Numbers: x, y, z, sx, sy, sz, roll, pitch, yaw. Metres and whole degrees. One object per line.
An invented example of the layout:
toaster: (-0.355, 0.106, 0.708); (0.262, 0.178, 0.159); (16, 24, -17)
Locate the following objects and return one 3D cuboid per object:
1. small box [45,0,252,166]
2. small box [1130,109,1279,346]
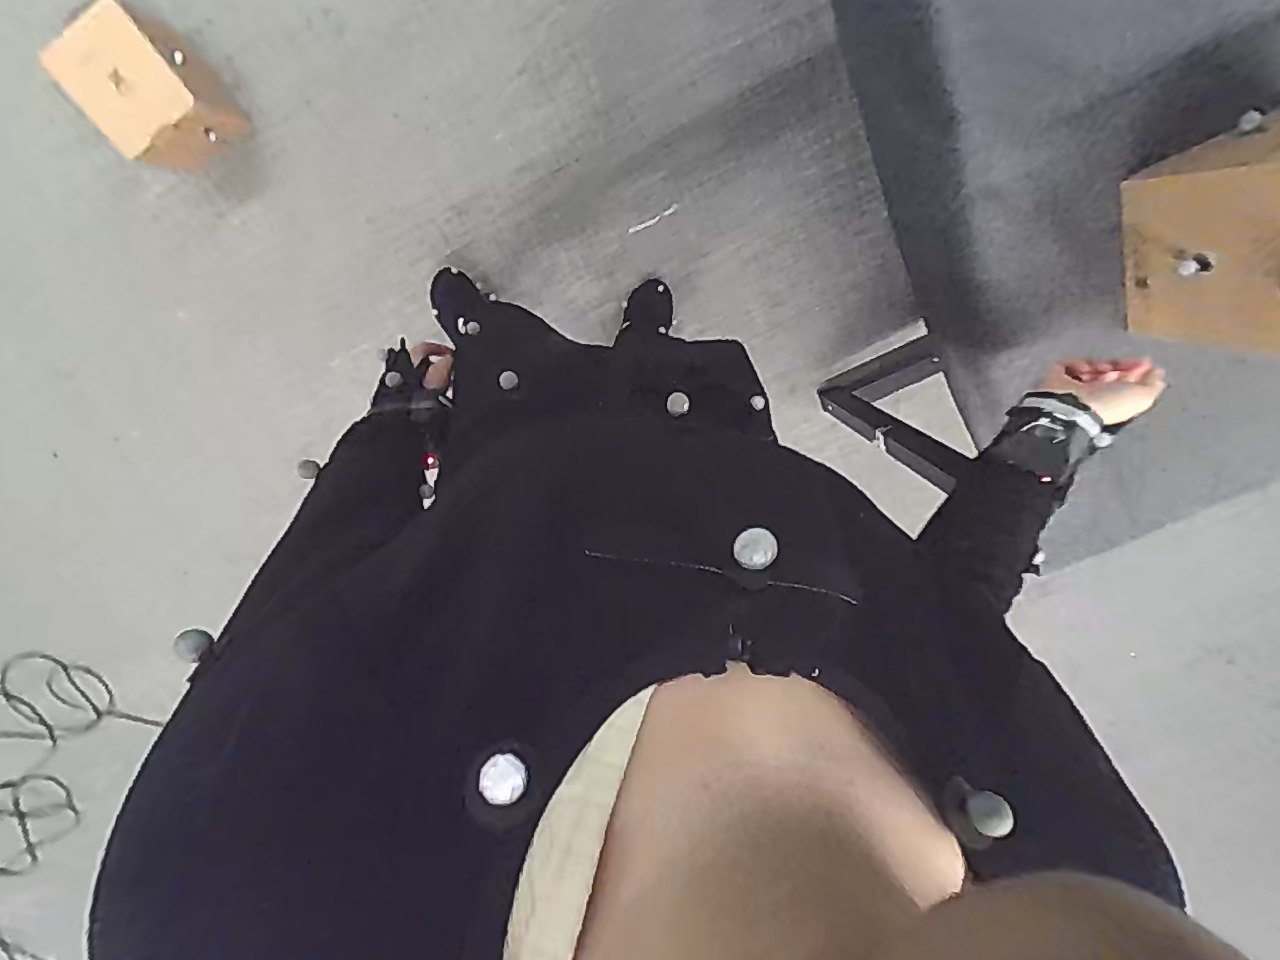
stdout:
small box: (-0.855, -0.692, 0.965); (0.168, 0.176, 0.179); (-32, 111, 7)
small box: (0.590, -0.233, 0.485); (0.179, 0.176, 0.168); (-23, 113, 6)
